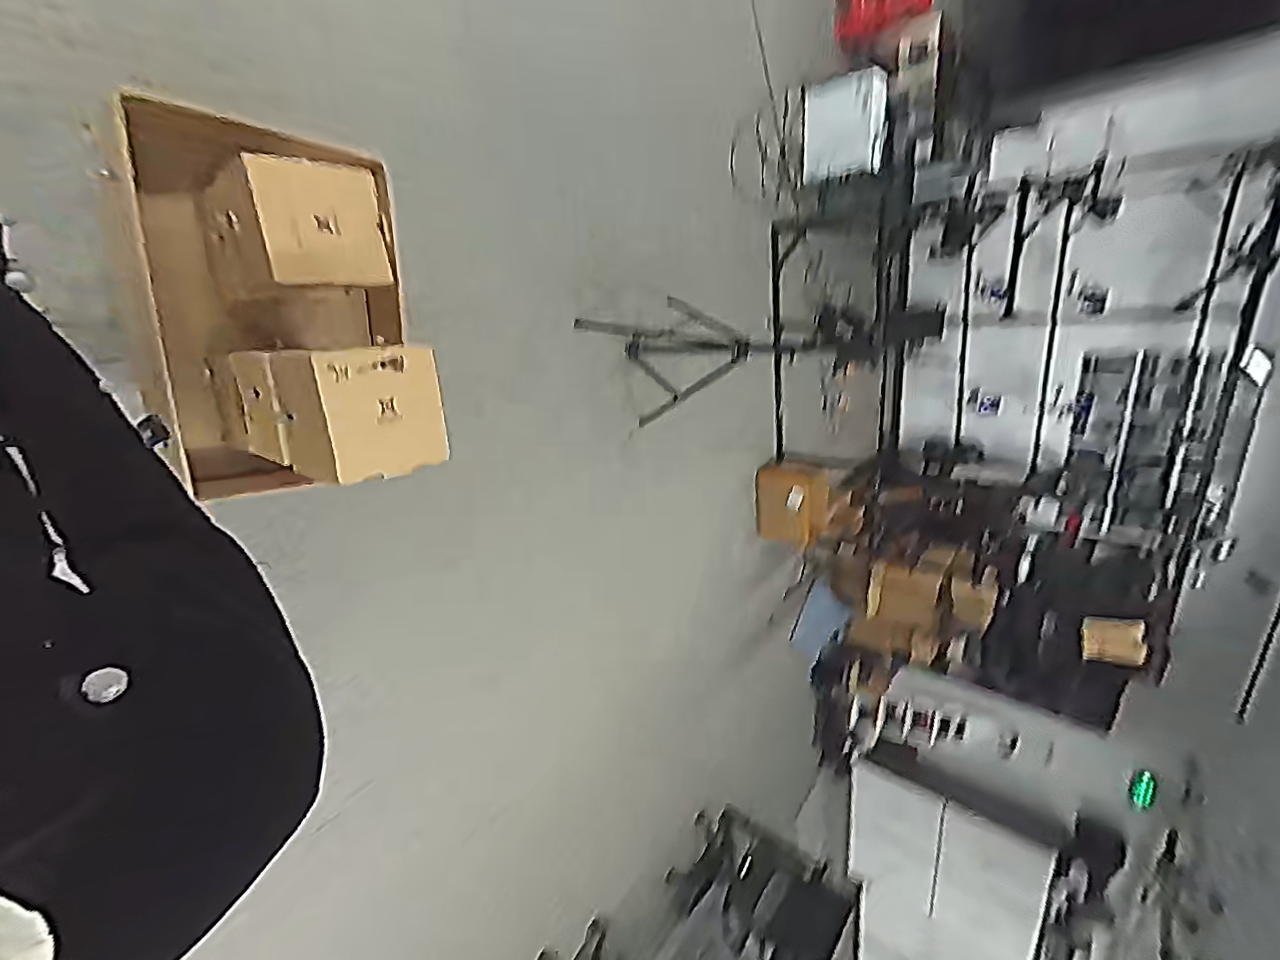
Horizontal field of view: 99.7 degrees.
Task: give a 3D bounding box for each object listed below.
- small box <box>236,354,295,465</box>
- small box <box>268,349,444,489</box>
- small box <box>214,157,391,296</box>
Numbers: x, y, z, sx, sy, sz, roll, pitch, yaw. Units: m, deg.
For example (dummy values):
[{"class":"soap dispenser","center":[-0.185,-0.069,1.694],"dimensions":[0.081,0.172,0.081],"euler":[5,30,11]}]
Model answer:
[{"class":"small box","center":[-0.546,-0.126,0.904],"dimensions":[0.179,0.176,0.168],"euler":[-18,112,-48]},{"class":"small box","center":[-0.419,-0.101,0.804],"dimensions":[0.168,0.176,0.179],"euler":[-21,114,-48]},{"class":"small box","center":[-0.531,-0.387,0.857],"dimensions":[0.179,0.176,0.168],"euler":[-22,113,-46]}]
